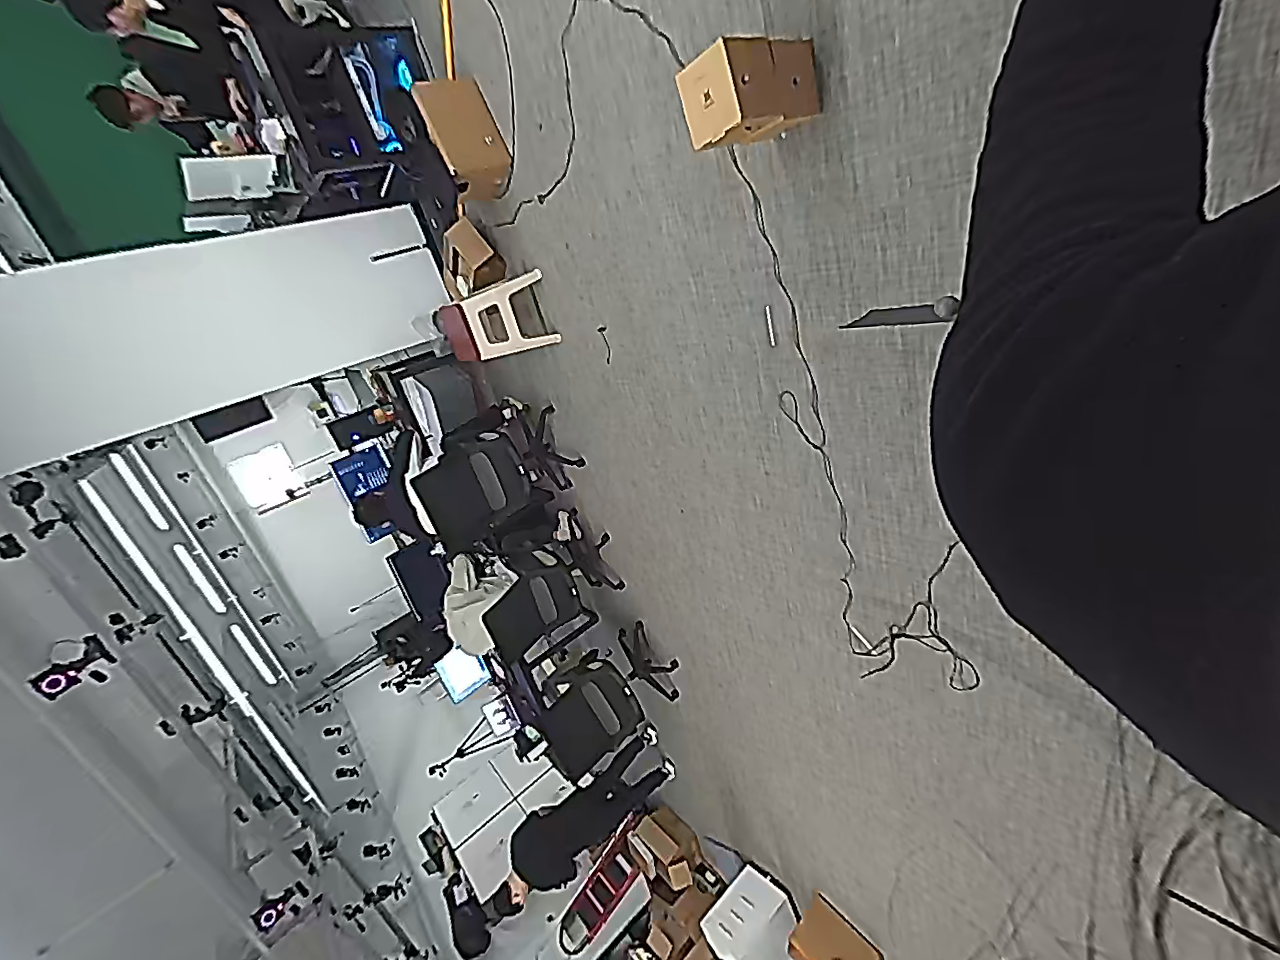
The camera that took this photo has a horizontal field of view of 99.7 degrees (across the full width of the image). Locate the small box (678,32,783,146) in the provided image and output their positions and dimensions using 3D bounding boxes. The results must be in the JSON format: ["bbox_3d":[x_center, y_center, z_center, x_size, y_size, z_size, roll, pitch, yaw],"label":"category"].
[{"bbox_3d":[0.228,-0.960,1.330,0.168,0.176,0.179,5,119,53],"label":"small box"}]

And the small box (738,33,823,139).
[{"bbox_3d":[0.352,-1.024,1.412,0.168,0.176,0.179,10,125,53],"label":"small box"}]
